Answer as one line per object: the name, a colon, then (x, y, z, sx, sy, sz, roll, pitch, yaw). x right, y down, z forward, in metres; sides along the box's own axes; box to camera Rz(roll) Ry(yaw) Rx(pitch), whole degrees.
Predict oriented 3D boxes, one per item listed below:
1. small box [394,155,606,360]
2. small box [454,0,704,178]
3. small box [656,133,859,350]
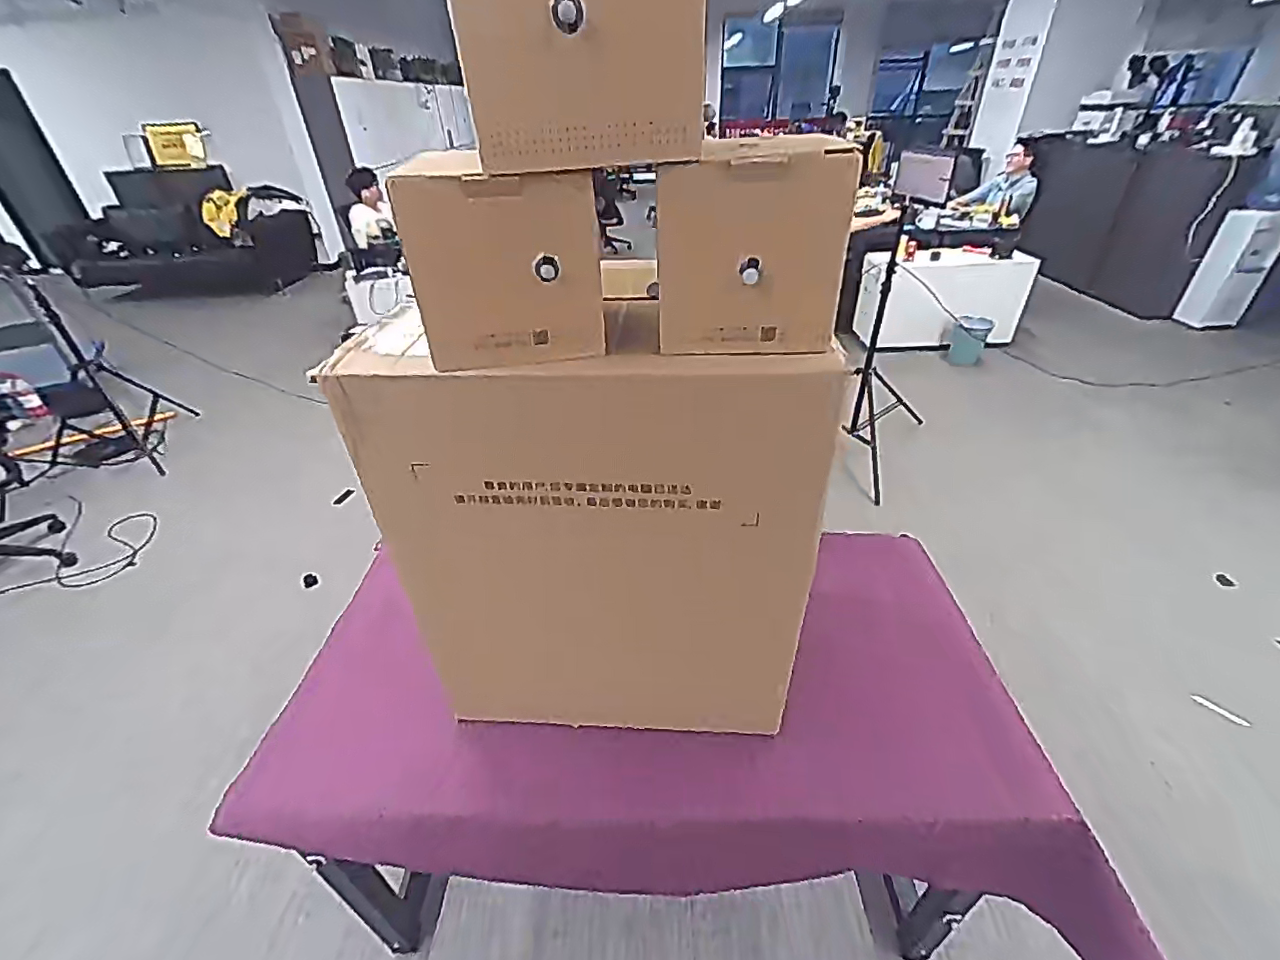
small box: (-0.127, -0.228, 0.550, 0.168, 0.176, 0.179, -6, 35, -7)
small box: (-0.044, -0.359, 0.443, 0.179, 0.176, 0.168, -6, 37, -1)
small box: (0.105, -0.241, 0.548, 0.168, 0.176, 0.179, 1, 37, 5)
